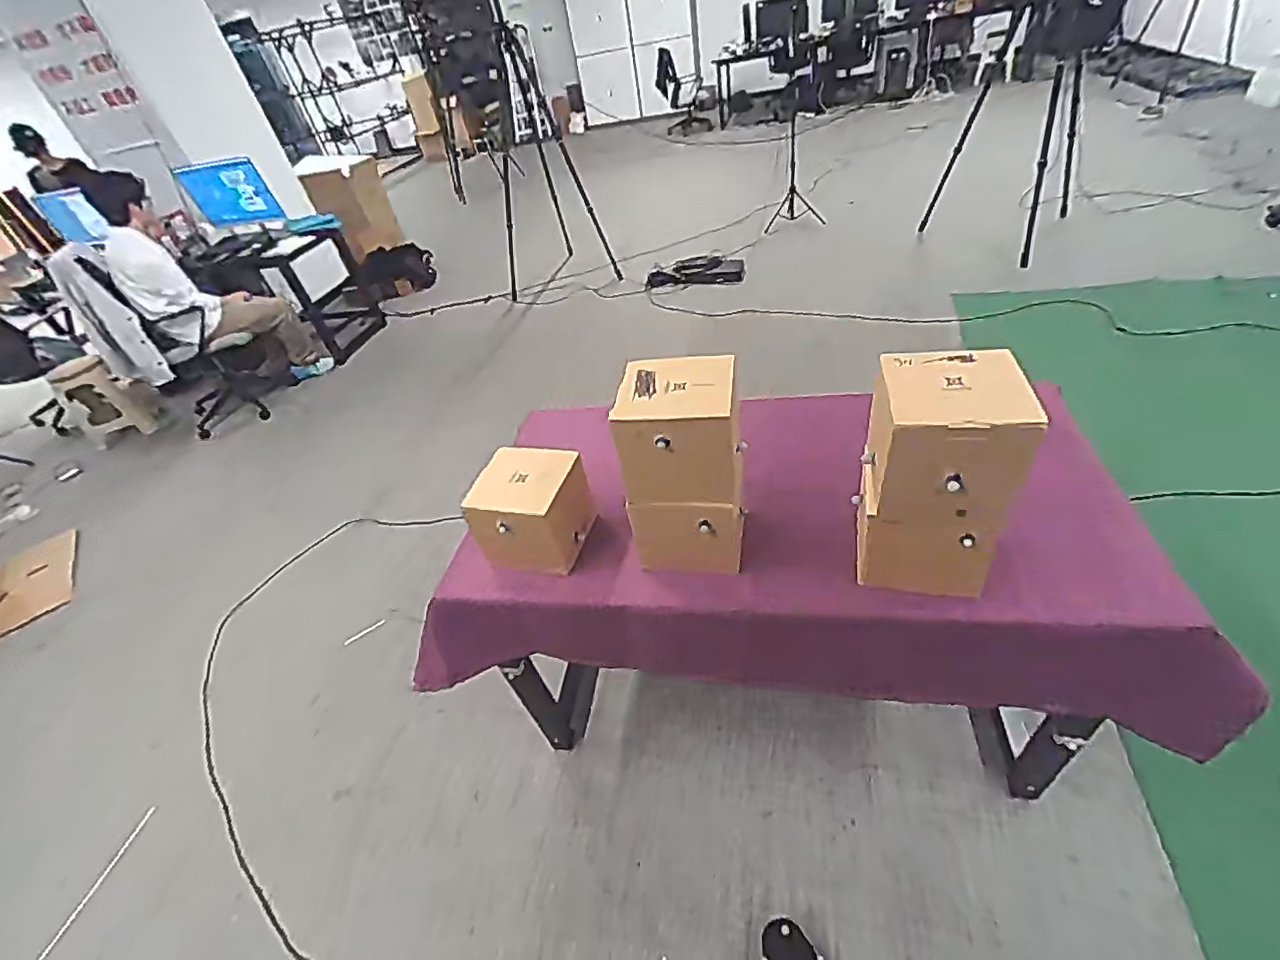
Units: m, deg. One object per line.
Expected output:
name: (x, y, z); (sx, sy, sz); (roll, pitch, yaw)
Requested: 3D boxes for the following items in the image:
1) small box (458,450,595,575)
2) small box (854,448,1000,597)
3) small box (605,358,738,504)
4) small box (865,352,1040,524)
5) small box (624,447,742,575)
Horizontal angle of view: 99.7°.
small box: (-0.205, 0.062, 1.029); (0.179, 0.176, 0.168); (5, 44, 19)
small box: (0.437, 0.066, 0.856); (0.179, 0.176, 0.168); (4, 44, 19)
small box: (0.061, -0.074, 0.858); (0.179, 0.176, 0.168); (0, 43, 13)
small box: (0.412, -0.056, 0.748); (0.168, 0.176, 0.179); (2, 43, 15)
small box: (0.087, 0.052, 0.961); (0.179, 0.176, 0.168); (1, 42, 16)
